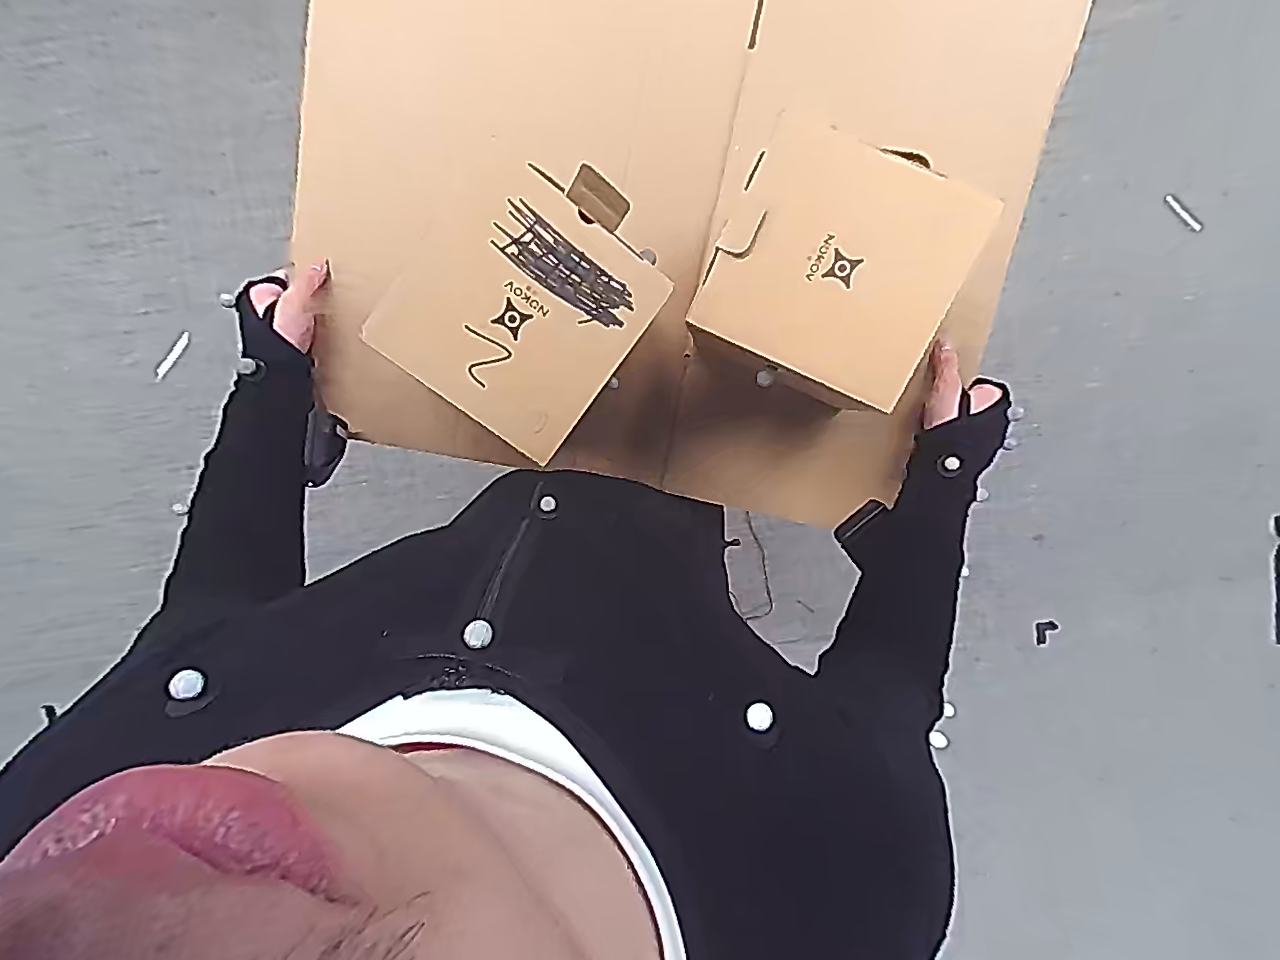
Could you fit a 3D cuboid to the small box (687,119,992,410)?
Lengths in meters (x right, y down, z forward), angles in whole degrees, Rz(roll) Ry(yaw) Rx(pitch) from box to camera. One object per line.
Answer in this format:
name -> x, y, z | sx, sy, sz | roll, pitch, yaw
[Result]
small box -> 0.161, -0.177, 0.494 | 0.179, 0.176, 0.168 | 26, 102, 5
